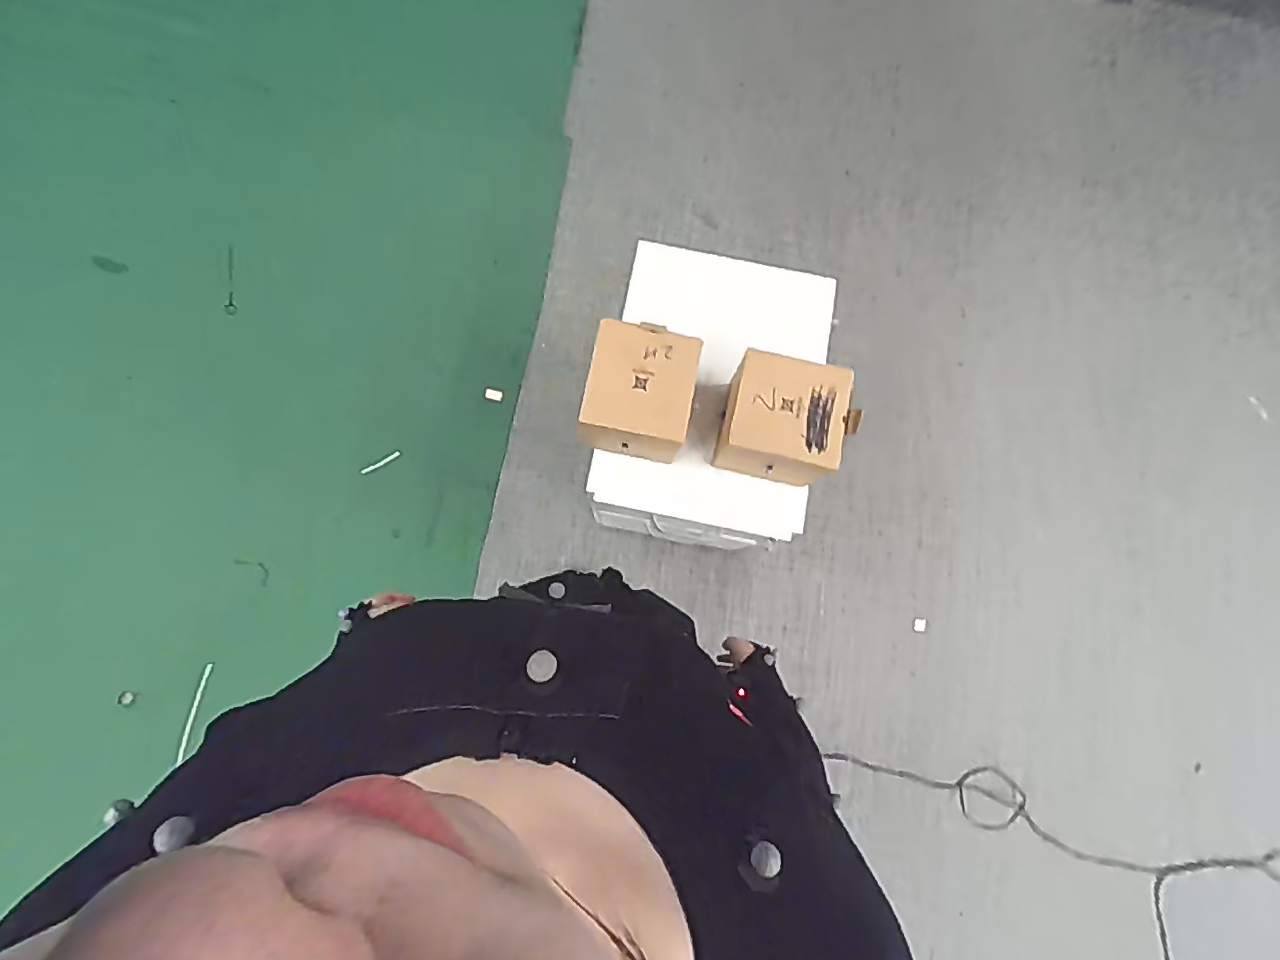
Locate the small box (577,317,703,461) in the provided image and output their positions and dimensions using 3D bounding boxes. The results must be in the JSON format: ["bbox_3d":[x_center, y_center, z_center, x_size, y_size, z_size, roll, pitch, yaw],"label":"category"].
[{"bbox_3d":[-0.003,-0.141,0.908,0.168,0.176,0.179,12,79,-3],"label":"small box"}]
